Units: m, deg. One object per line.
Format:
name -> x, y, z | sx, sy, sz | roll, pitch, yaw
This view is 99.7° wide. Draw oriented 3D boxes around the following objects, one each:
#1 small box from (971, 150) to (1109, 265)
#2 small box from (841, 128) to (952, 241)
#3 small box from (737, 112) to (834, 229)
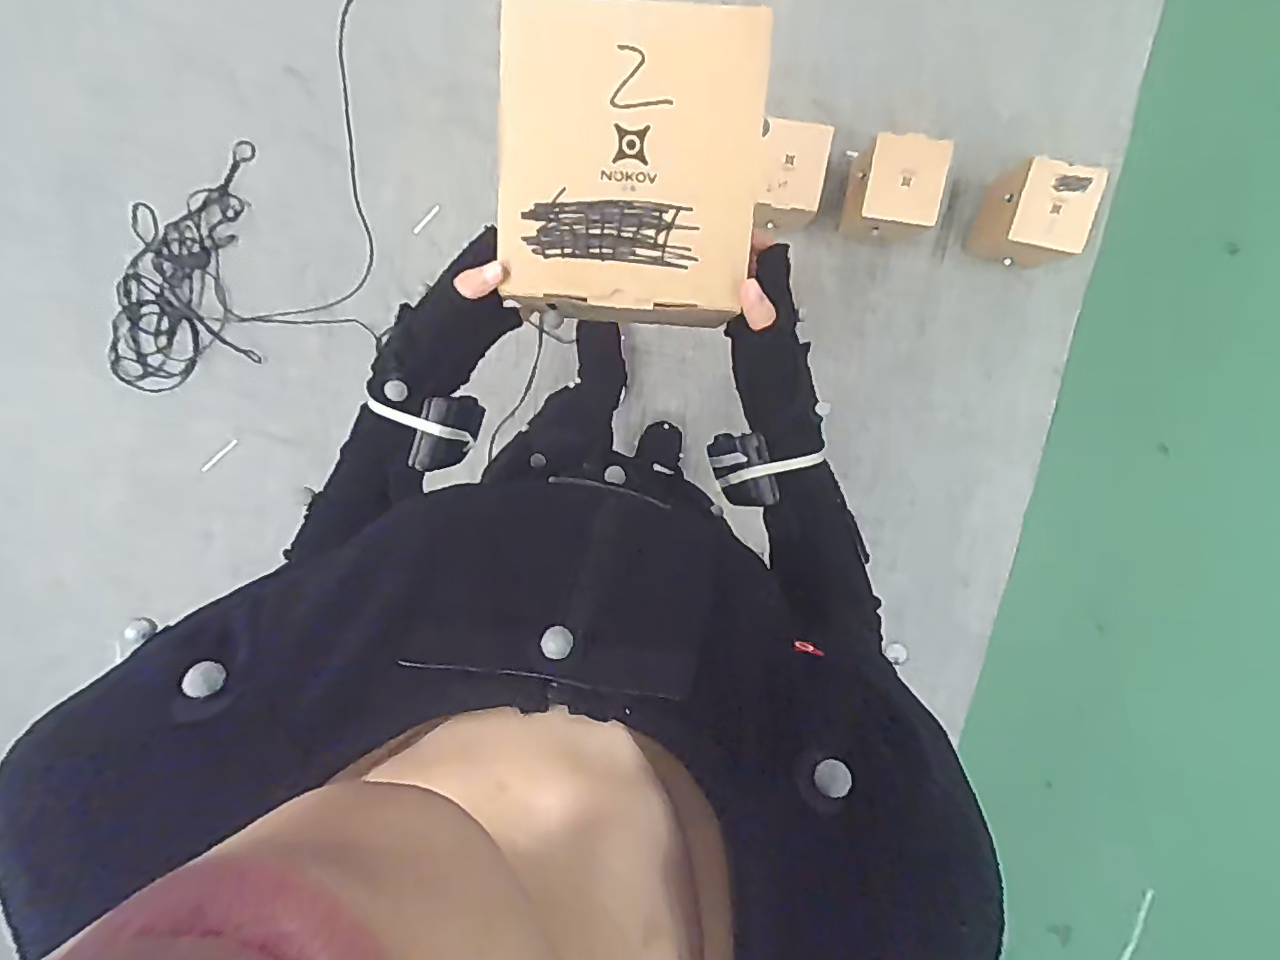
small box -> 0.899, -0.612, 1.236 | 0.168, 0.176, 0.179 | 12, 101, 1
small box -> 0.578, -0.669, 1.244 | 0.168, 0.176, 0.179 | 9, 99, 2
small box -> 0.325, -0.704, 1.246 | 0.168, 0.176, 0.179 | 9, 100, 2
